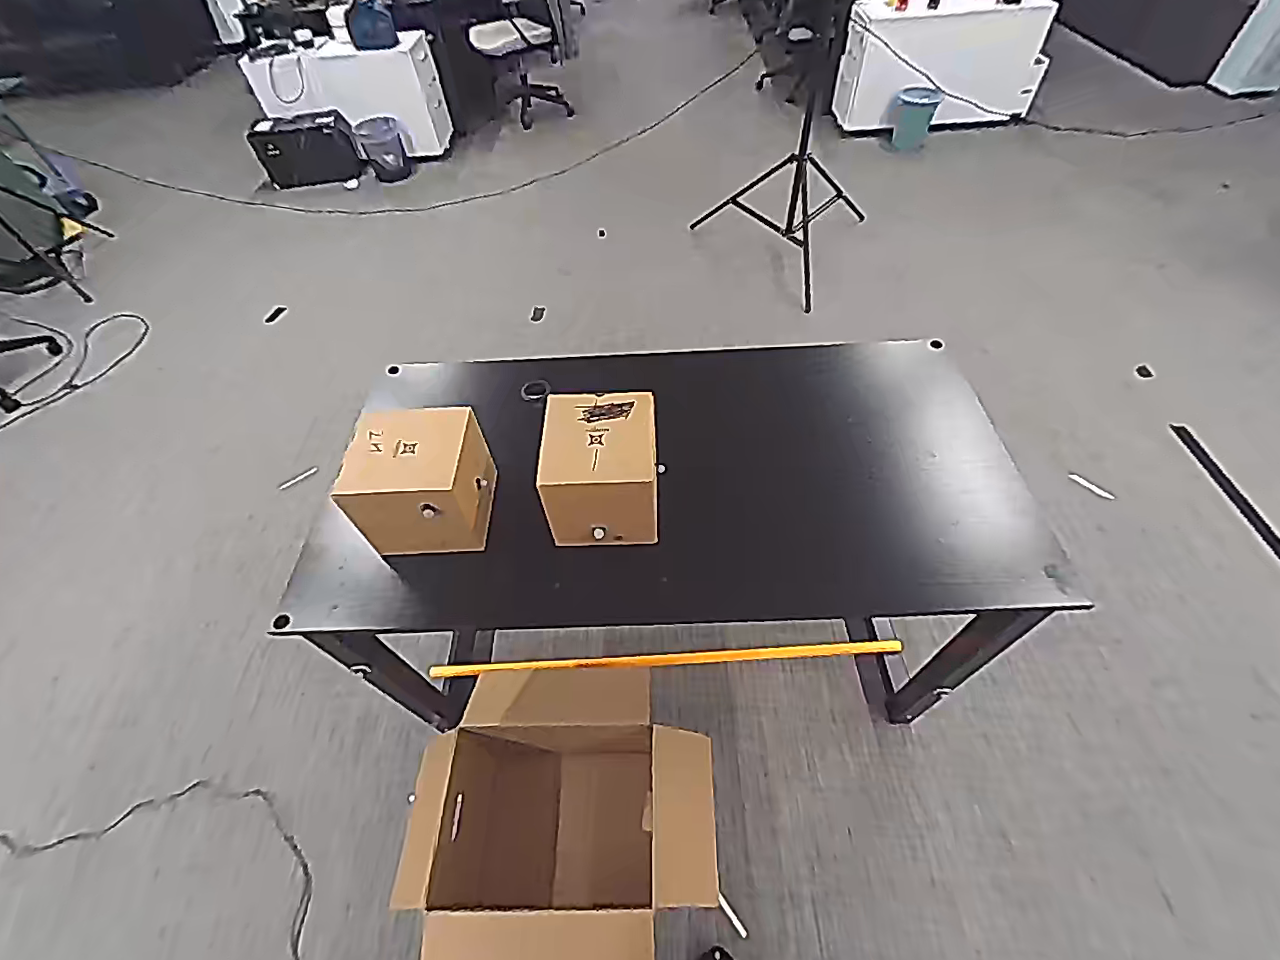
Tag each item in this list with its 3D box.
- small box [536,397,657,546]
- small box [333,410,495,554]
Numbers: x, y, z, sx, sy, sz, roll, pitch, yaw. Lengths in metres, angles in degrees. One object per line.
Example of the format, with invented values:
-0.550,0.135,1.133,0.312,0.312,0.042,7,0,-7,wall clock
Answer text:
-0.060,-0.011,0.865,0.168,0.176,0.179,-2,53,3,small box
-0.344,0.006,0.868,0.179,0.176,0.168,-3,52,1,small box
